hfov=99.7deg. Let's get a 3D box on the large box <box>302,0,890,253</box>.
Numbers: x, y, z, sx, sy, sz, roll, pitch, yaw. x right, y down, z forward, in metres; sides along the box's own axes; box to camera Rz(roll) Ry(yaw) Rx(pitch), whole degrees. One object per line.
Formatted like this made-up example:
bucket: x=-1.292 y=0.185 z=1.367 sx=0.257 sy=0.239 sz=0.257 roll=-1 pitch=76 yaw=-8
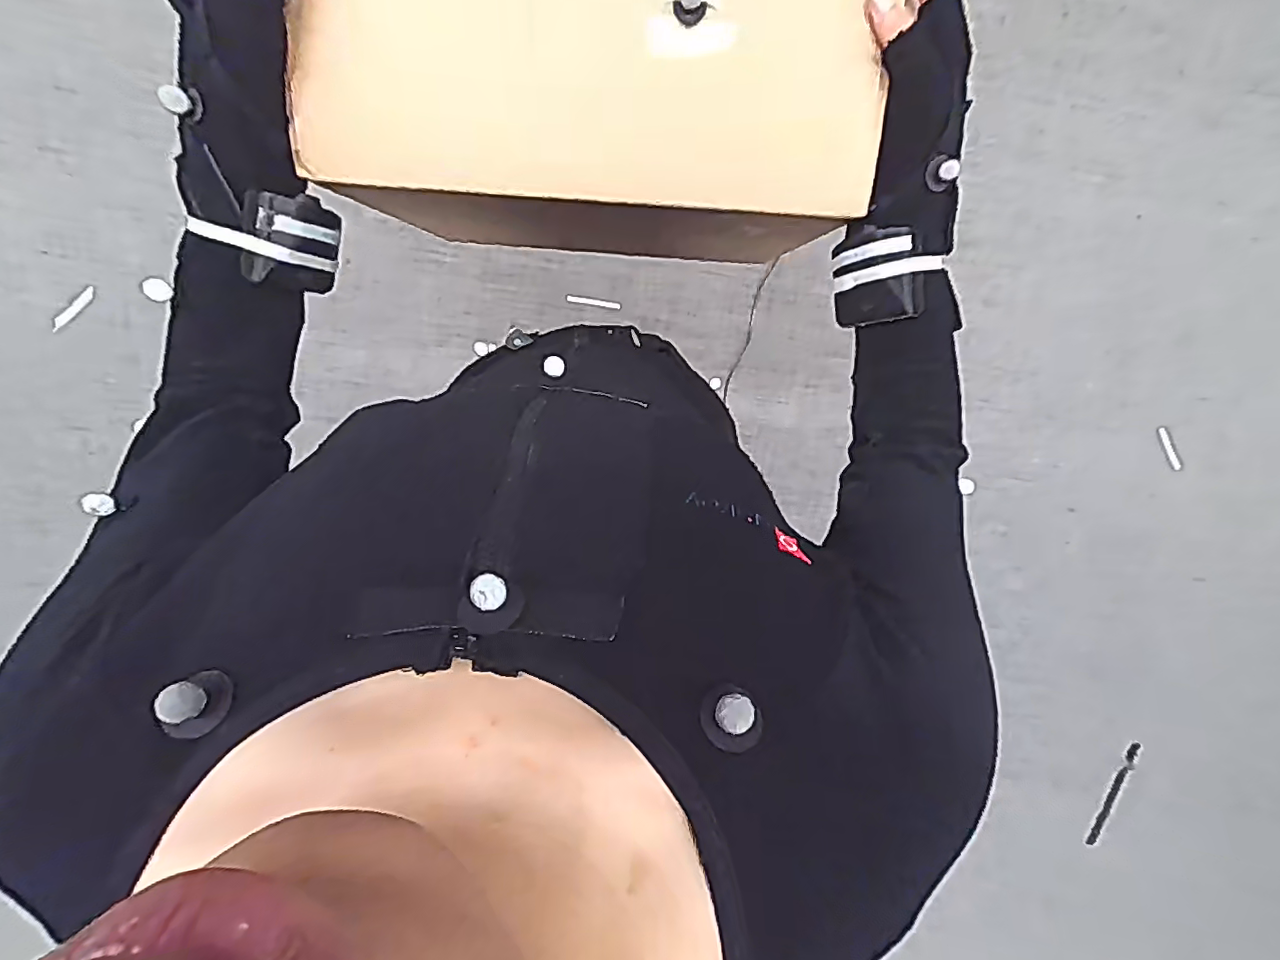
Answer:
large box: x=-0.029 y=-0.401 z=0.498 sx=0.408 sy=0.320 sz=0.320 roll=3 pitch=106 yaw=-2
